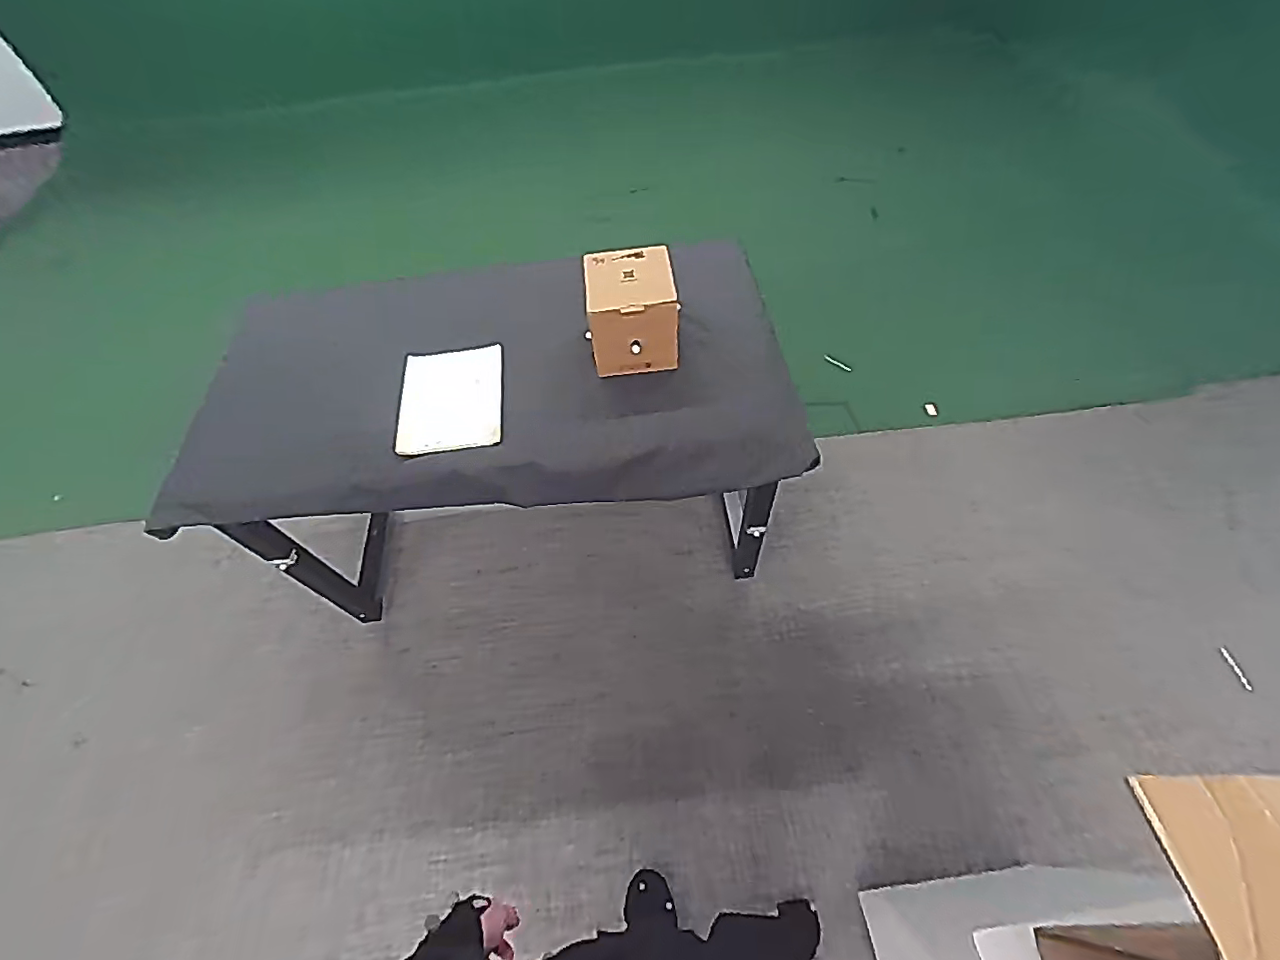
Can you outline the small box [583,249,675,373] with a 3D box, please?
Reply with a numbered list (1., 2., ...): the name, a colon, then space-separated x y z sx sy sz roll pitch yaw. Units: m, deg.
1. small box: -0.019 -0.330 1.082 0.168 0.176 0.179 -6 58 0
